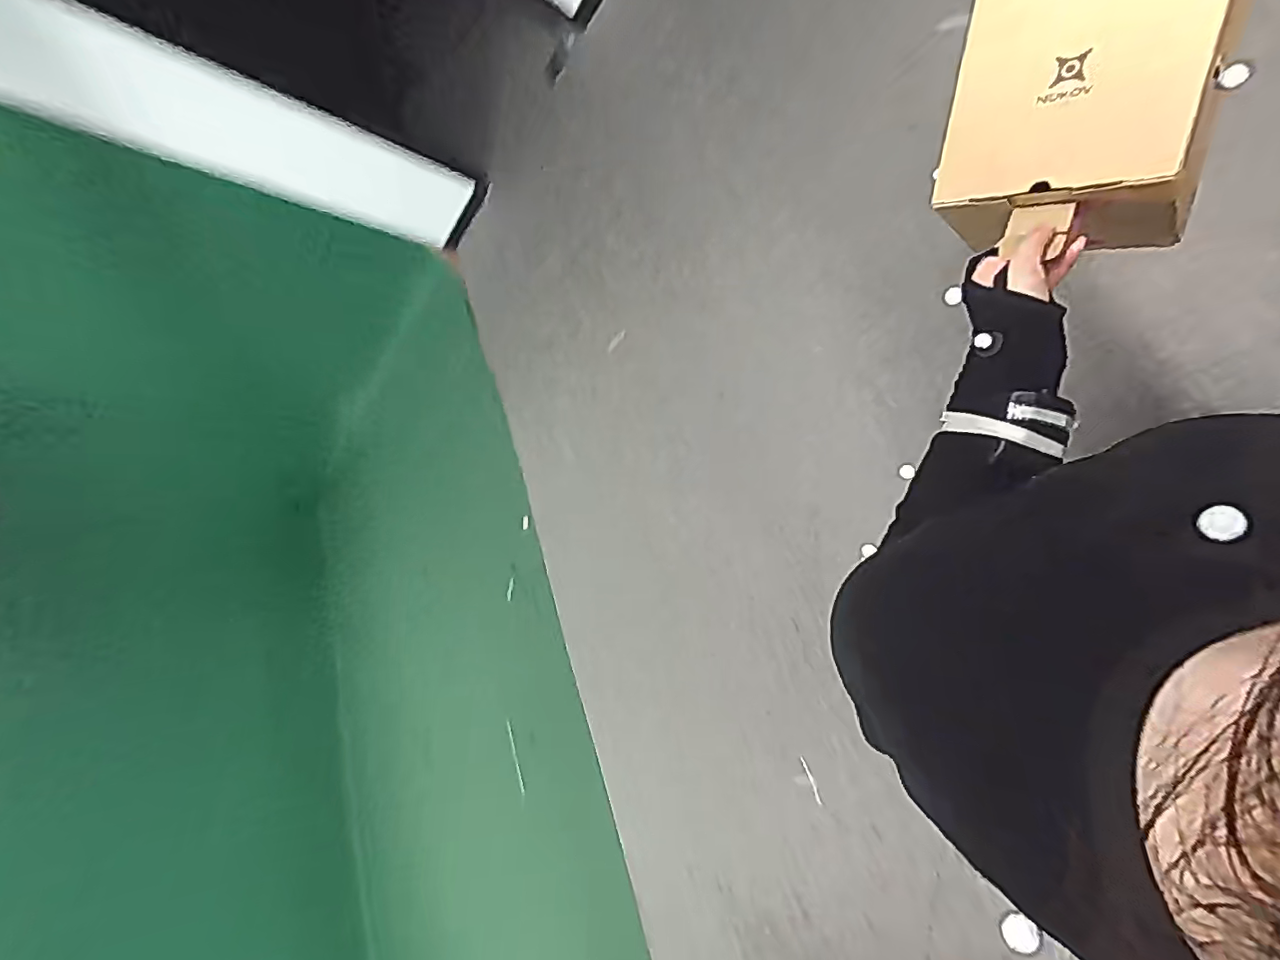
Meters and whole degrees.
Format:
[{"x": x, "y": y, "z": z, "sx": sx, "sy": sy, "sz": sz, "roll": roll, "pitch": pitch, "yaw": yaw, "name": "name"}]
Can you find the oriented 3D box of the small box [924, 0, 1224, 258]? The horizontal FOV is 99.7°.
[{"x": 0.384, "y": -0.315, "z": 0.486, "sx": 0.168, "sy": 0.176, "sz": 0.179, "roll": 17, "pitch": 104, "yaw": 42, "name": "small box"}]
